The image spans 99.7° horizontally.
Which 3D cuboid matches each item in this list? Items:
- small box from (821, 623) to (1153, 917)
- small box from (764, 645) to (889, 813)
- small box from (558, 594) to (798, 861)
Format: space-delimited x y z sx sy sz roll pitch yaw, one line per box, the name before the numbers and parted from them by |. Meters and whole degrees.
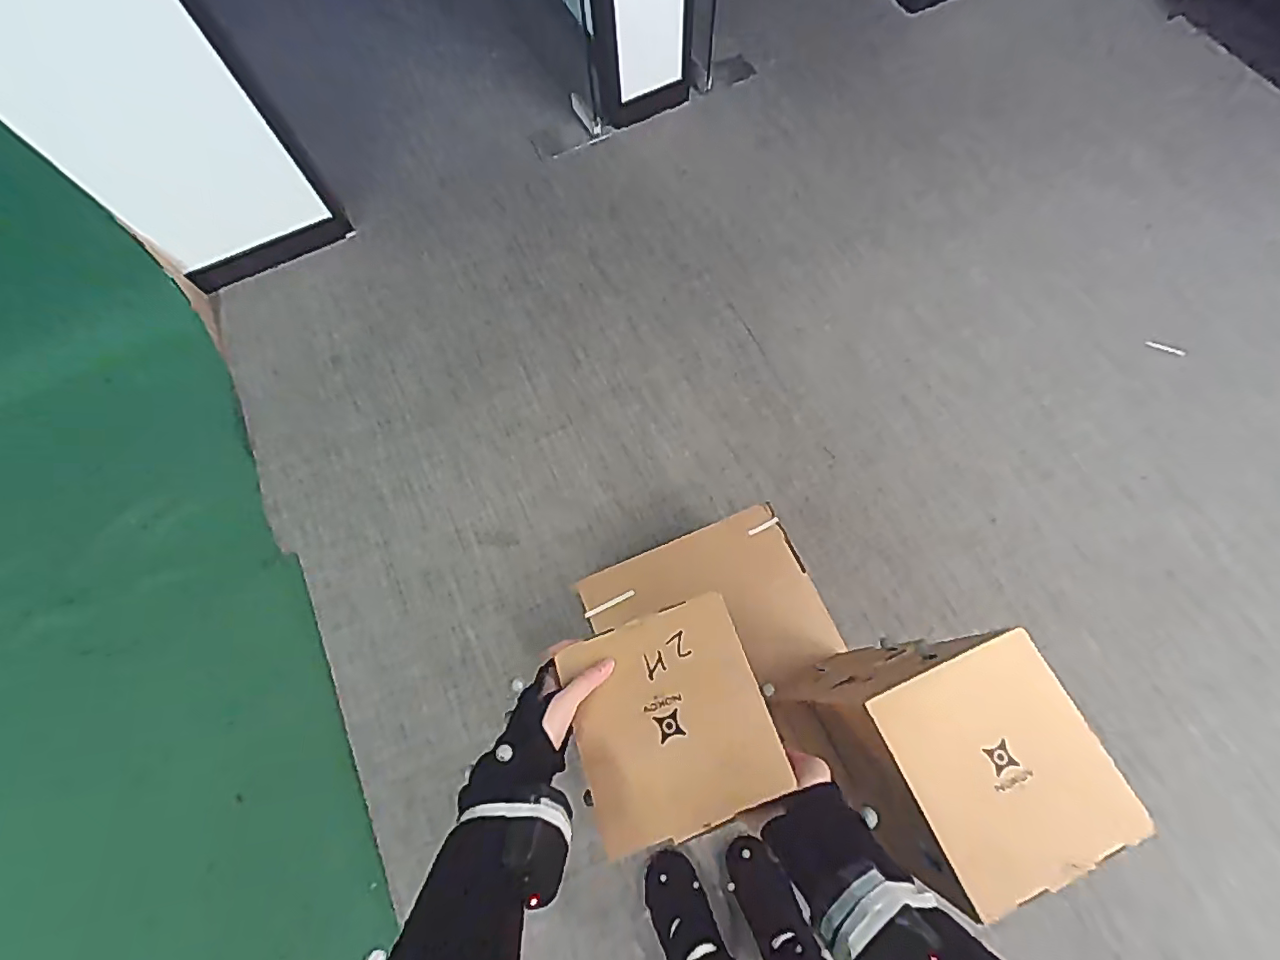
small box | 0.305 0.261 0.525 0.168 0.176 0.179 -23 70 -7
small box | 0.309 0.372 0.833 0.179 0.176 0.168 -25 69 -6
small box | 0.037 0.234 0.541 0.168 0.176 0.179 -20 67 -1
